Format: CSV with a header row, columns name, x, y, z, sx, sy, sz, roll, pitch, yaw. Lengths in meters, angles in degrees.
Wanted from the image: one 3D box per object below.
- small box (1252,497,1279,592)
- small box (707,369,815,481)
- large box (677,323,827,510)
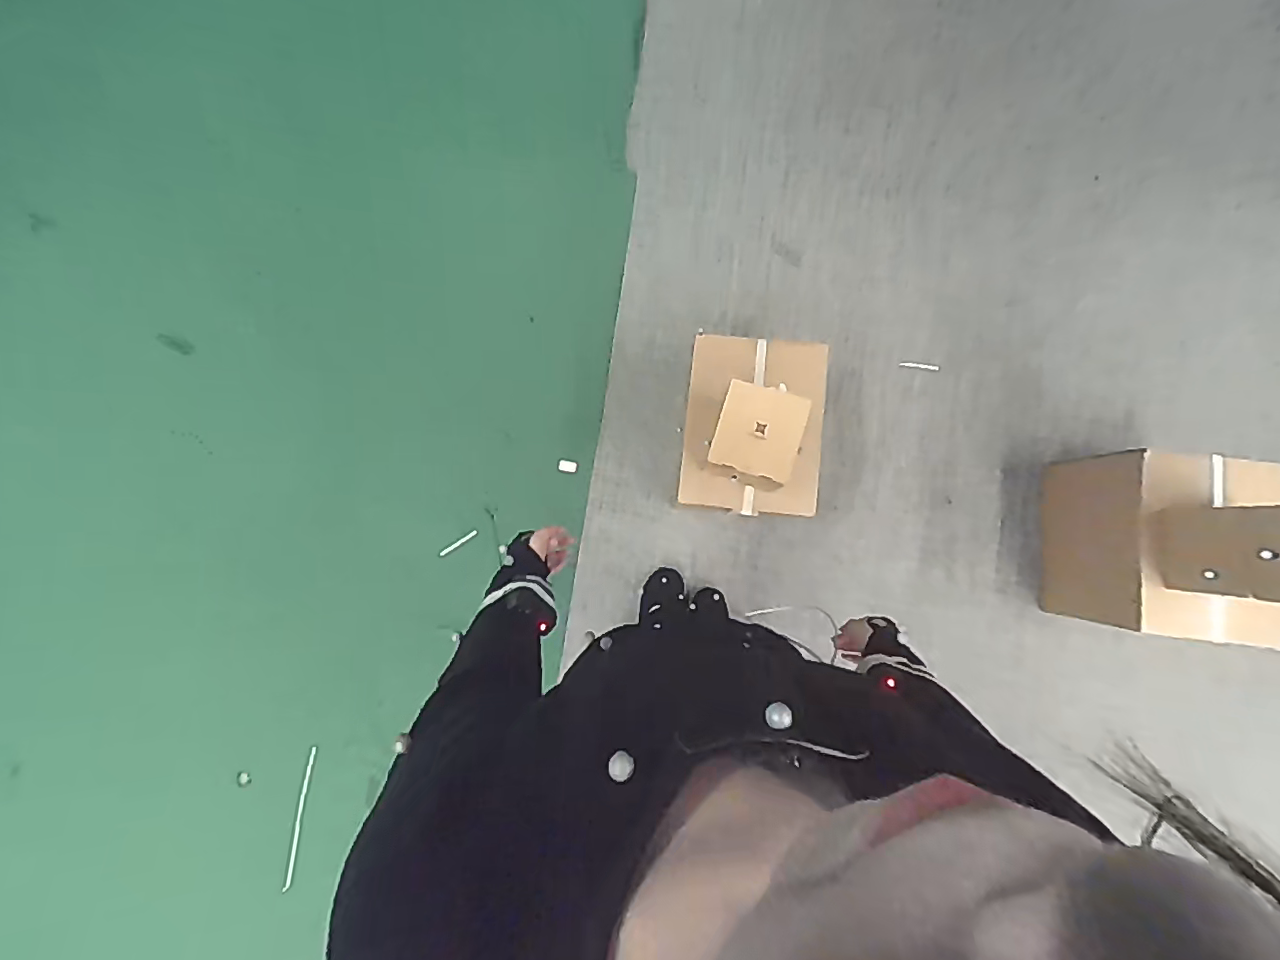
name,x,y,z,sx,sy,sz,roll,pitch,yaw
small box,1.206,0.114,0.911,0.168,0.176,0.179,-2,87,3
small box,0.240,-0.106,1.122,0.168,0.176,0.179,17,87,5
large box,0.265,-0.138,1.369,0.320,0.320,0.408,6,85,3
